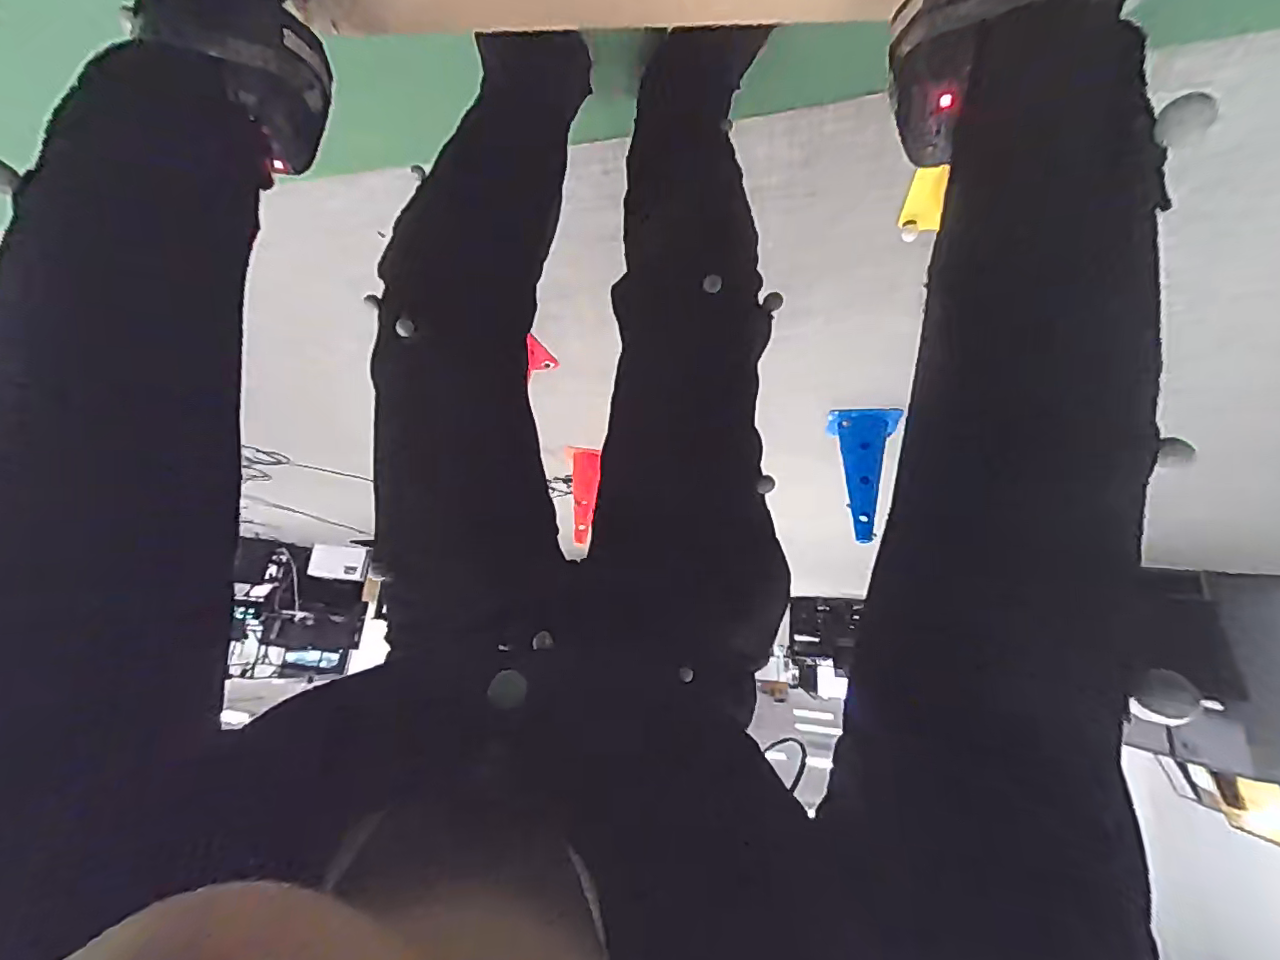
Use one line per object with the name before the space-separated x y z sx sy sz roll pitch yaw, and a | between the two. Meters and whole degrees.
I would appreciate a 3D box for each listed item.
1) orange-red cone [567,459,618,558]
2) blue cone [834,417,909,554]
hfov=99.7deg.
orange-red cone | -0.208 0.121 2.073 0.199 0.360 0.198 8 162 -4
blue cone | 0.650 0.018 1.514 0.192 0.380 0.193 1 163 15
